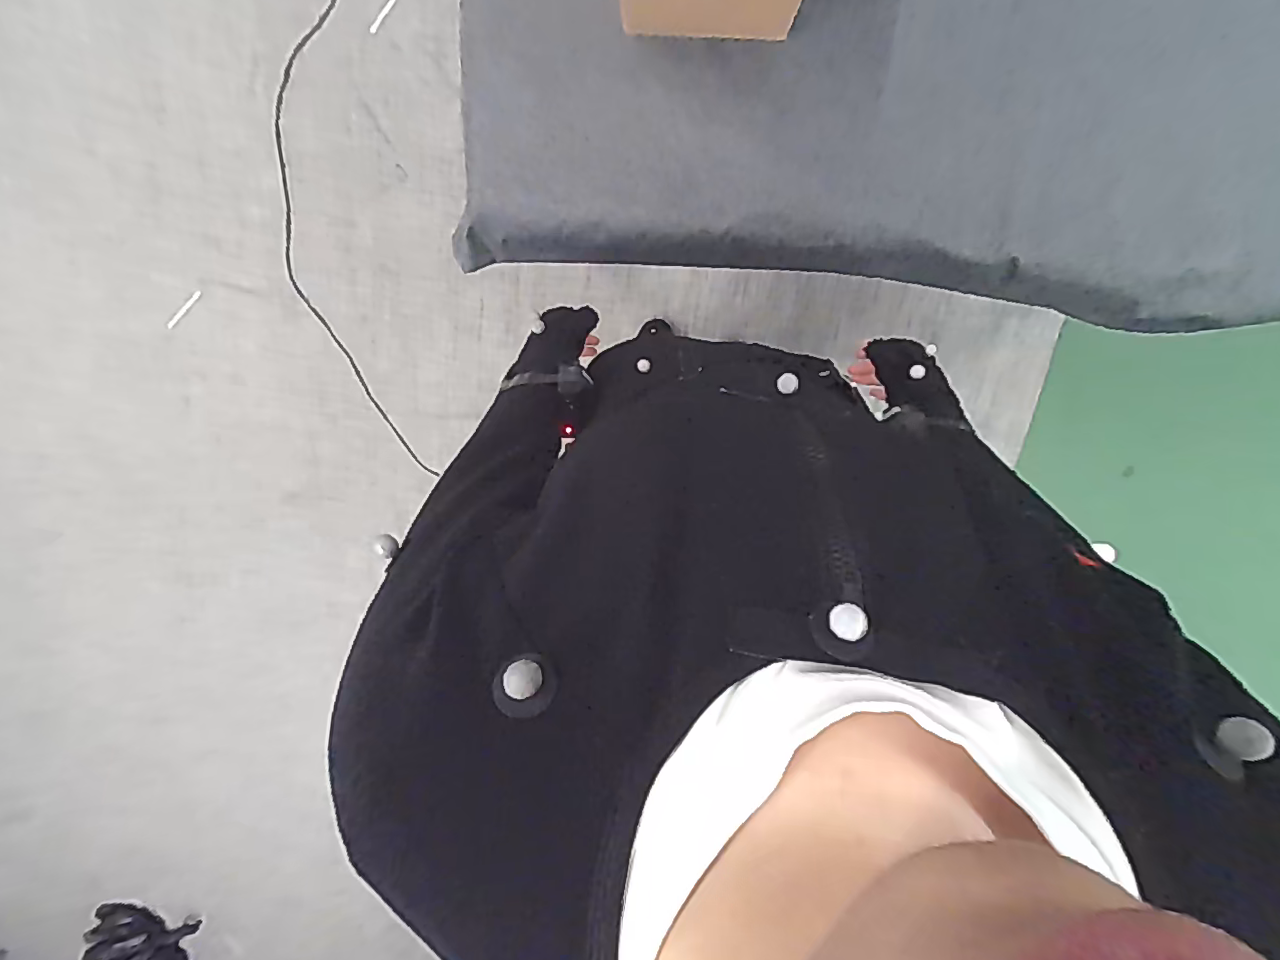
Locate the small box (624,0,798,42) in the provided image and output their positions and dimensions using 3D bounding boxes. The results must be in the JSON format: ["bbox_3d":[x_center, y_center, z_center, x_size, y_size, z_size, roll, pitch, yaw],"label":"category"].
[{"bbox_3d":[0.072,-0.532,0.486,0.179,0.176,0.168,4,107,1],"label":"small box"}]
